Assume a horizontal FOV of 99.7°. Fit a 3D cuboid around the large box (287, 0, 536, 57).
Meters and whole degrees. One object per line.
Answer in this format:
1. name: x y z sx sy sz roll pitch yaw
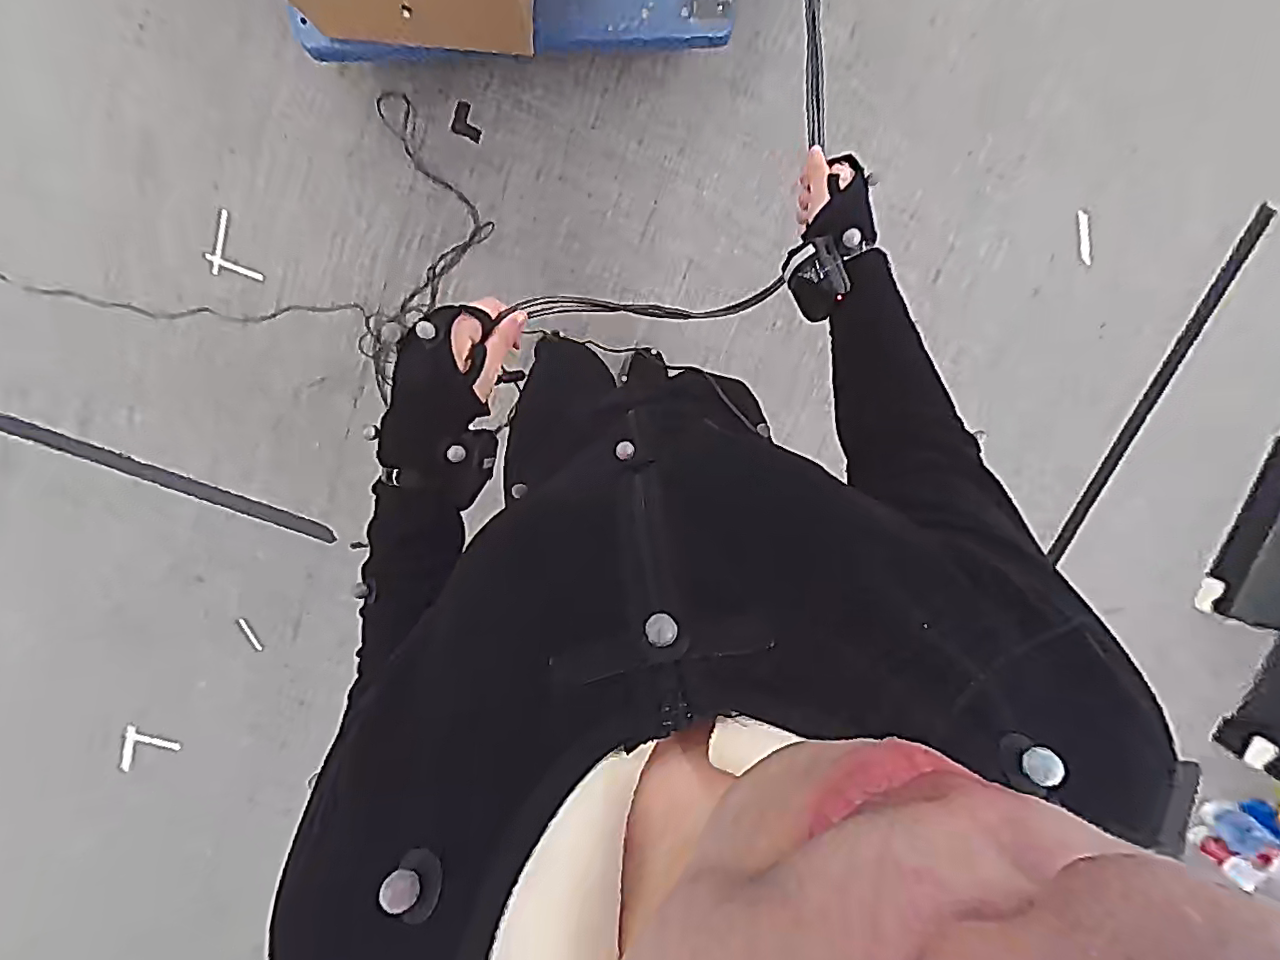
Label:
1. large box: -0.395 -0.951 0.886 0.408 0.320 0.320 2 104 -3
